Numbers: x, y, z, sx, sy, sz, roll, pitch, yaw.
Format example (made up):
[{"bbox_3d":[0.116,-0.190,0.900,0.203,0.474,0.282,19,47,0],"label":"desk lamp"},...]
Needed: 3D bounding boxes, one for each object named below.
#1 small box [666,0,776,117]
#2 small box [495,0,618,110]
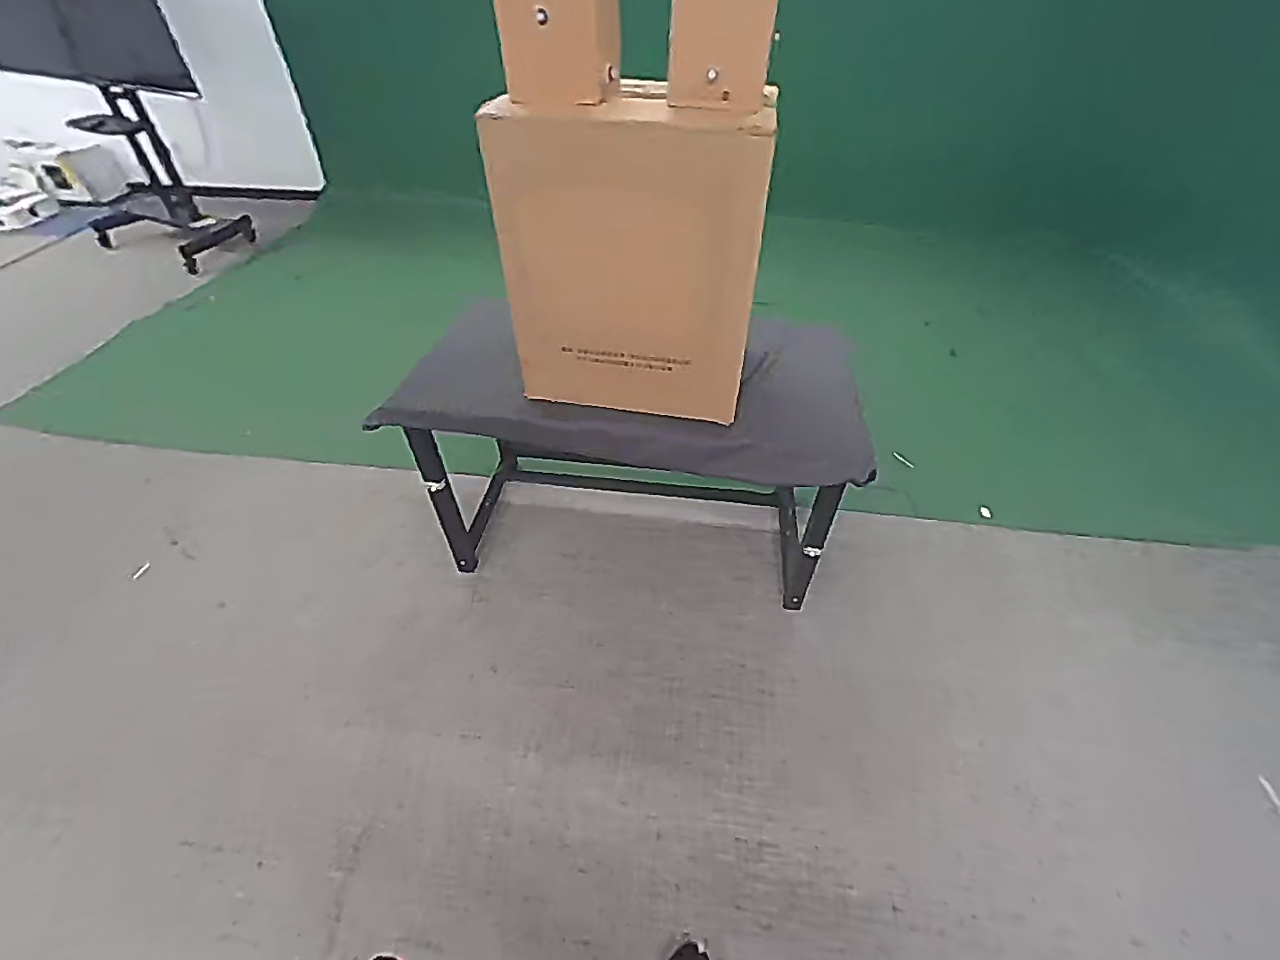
[{"bbox_3d":[0.141,-0.766,0.953,0.168,0.176,0.179,9,48,7],"label":"small box"},{"bbox_3d":[-0.144,-0.793,0.983,0.179,0.176,0.168,9,48,7],"label":"small box"}]
